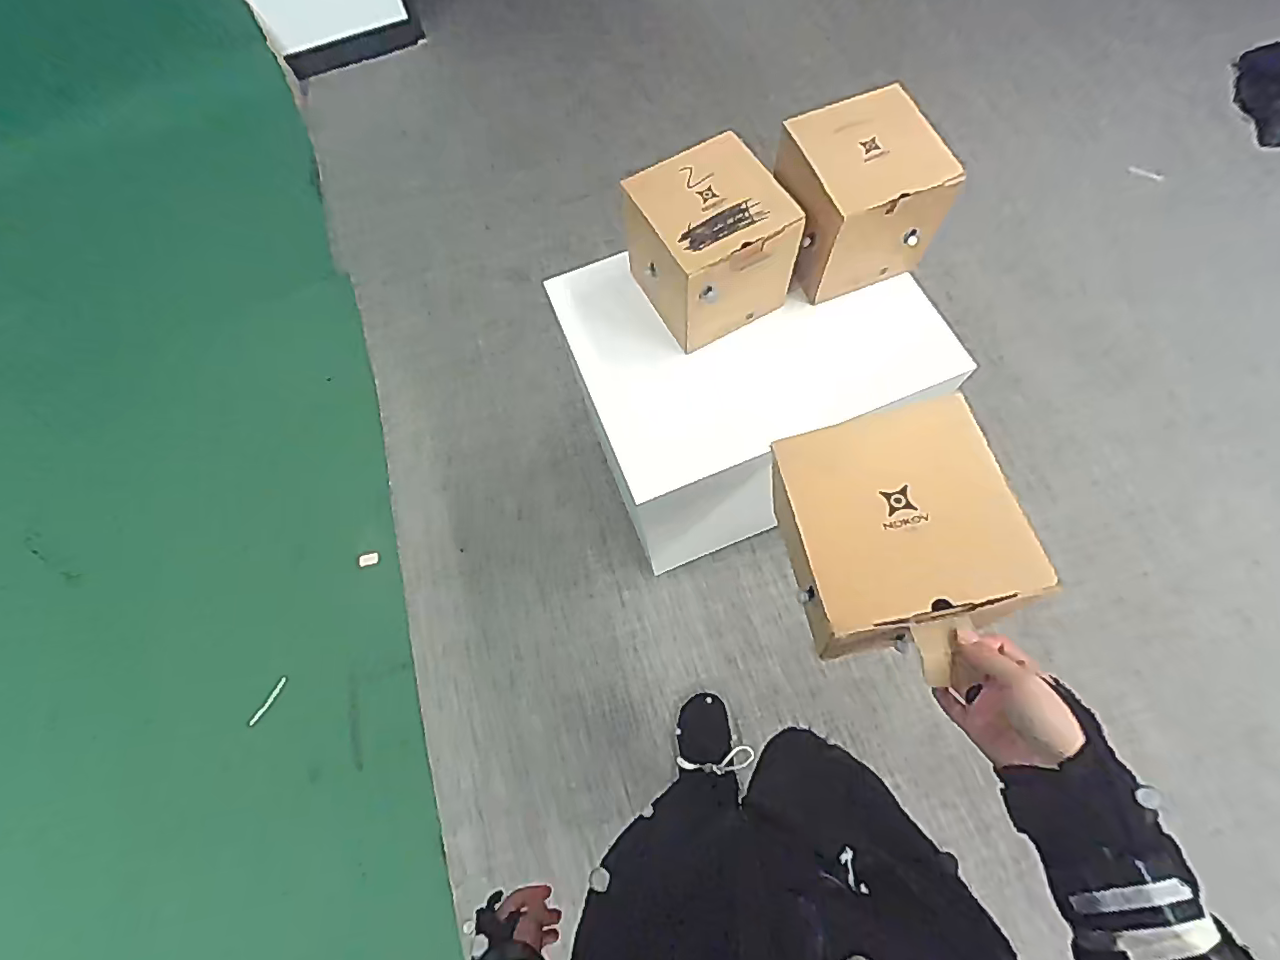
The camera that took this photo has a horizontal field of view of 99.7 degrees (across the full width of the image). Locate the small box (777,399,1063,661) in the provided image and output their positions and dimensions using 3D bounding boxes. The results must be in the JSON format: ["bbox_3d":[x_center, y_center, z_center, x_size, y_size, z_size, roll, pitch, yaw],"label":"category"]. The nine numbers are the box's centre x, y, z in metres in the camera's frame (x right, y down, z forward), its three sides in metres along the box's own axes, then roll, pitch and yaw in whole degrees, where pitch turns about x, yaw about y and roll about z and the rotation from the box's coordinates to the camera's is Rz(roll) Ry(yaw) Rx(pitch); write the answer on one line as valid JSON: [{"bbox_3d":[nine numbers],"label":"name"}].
[{"bbox_3d":[0.231,0.057,0.506,0.168,0.176,0.179,-16,64,8],"label":"small box"}]

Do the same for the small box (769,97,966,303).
[{"bbox_3d":[0.297,-0.372,0.750,0.168,0.176,0.179,-20,69,-4],"label":"small box"}]
